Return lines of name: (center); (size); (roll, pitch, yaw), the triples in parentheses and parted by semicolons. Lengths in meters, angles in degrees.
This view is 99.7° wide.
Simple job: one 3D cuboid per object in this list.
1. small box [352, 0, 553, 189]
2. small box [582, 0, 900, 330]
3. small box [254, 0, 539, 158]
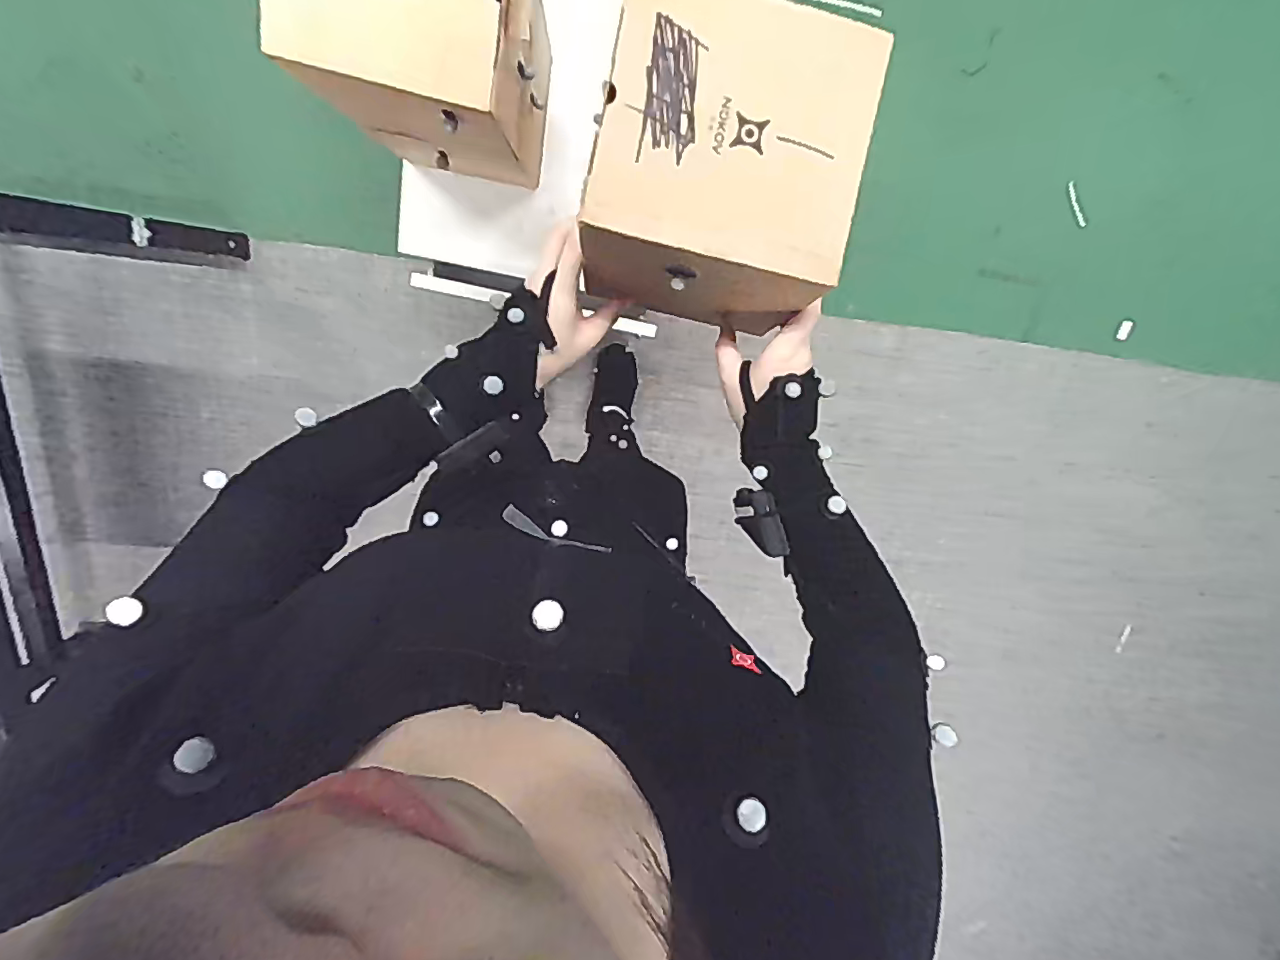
small box: (-0.204, -0.453, 0.621); (0.179, 0.176, 0.168); (8, 107, -7)
small box: (0.057, -0.226, 0.417); (0.179, 0.176, 0.168); (12, 94, -6)
small box: (-0.192, -0.403, 0.466); (0.179, 0.176, 0.168); (9, 107, -9)
